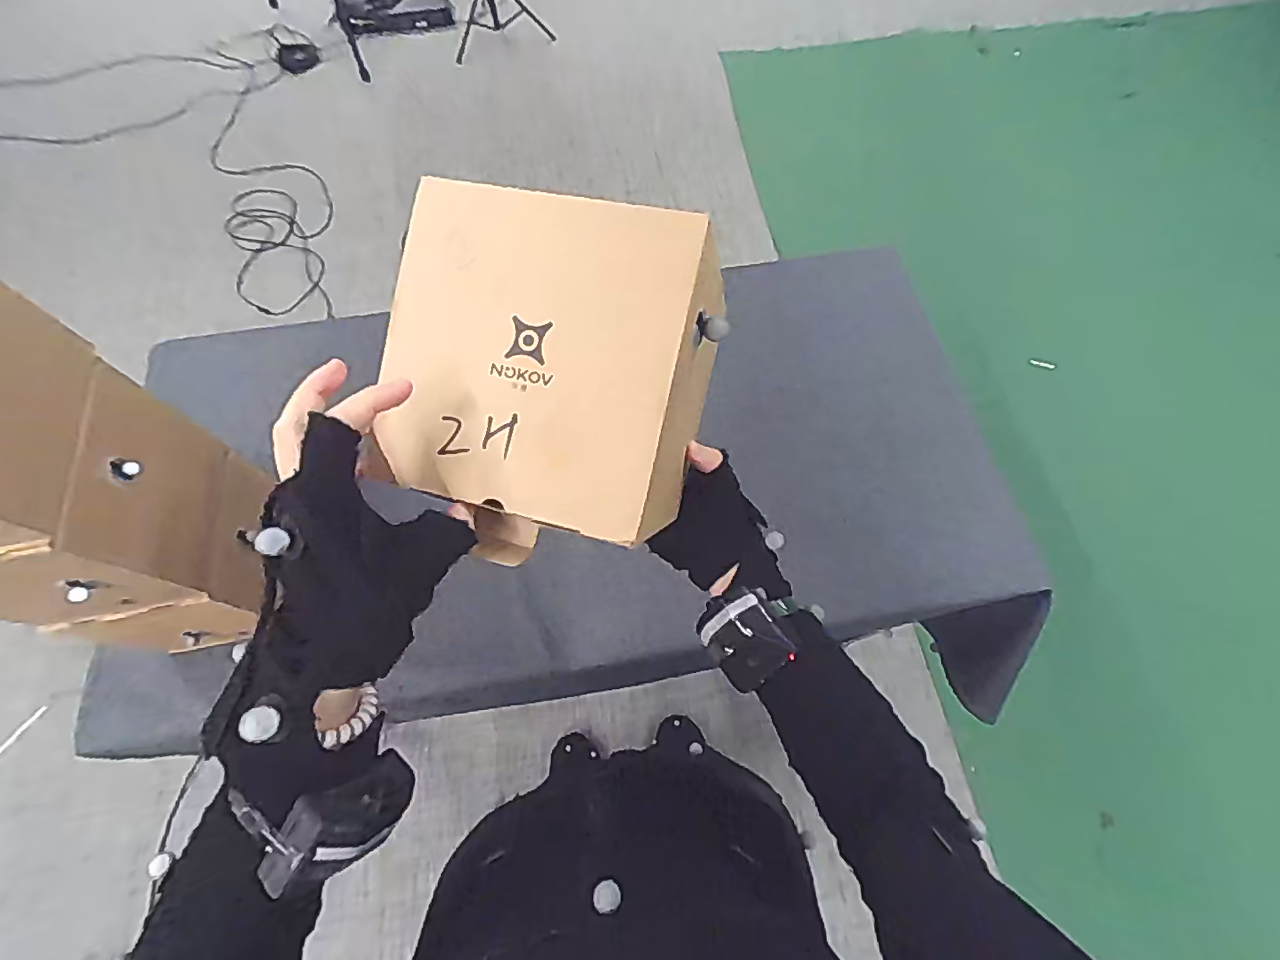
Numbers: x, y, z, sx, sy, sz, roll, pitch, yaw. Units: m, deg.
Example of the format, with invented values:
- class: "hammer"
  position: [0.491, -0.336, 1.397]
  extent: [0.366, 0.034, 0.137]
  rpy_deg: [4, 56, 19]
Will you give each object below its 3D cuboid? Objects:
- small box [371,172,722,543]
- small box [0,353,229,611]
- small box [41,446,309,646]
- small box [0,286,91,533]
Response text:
- class: "small box"
  position: [-0.043, -0.072, 0.370]
  extent: [0.168, 0.176, 0.179]
  rpy_deg: [14, 95, 12]
- class: "small box"
  position: [-0.519, 0.015, 0.493]
  extent: [0.168, 0.176, 0.179]
  rpy_deg: [-9, 66, -5]
- class: "small box"
  position: [-0.521, 0.084, 0.640]
  extent: [0.168, 0.176, 0.179]
  rpy_deg: [-10, 67, -4]
- class: "small box"
  position: [-0.520, -0.058, 0.347]
  extent: [0.168, 0.176, 0.179]
  rpy_deg: [-10, 66, -6]
